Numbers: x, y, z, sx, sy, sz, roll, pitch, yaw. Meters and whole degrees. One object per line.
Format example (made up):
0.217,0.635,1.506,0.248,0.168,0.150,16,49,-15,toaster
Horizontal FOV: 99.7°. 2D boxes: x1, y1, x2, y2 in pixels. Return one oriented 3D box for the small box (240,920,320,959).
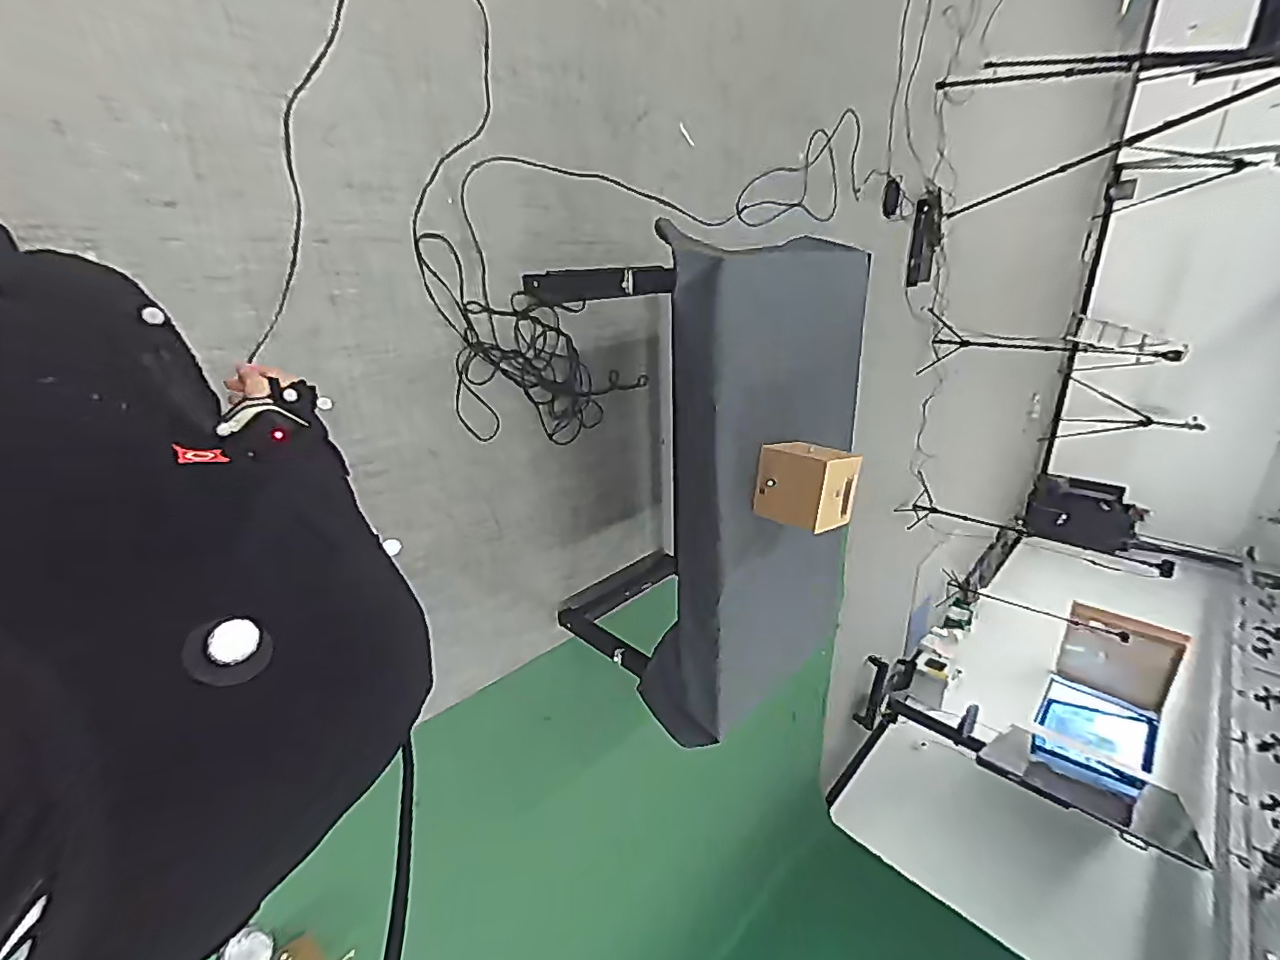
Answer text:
-0.958,1.354,1.456,0.168,0.176,0.179,-23,120,-41,small box
